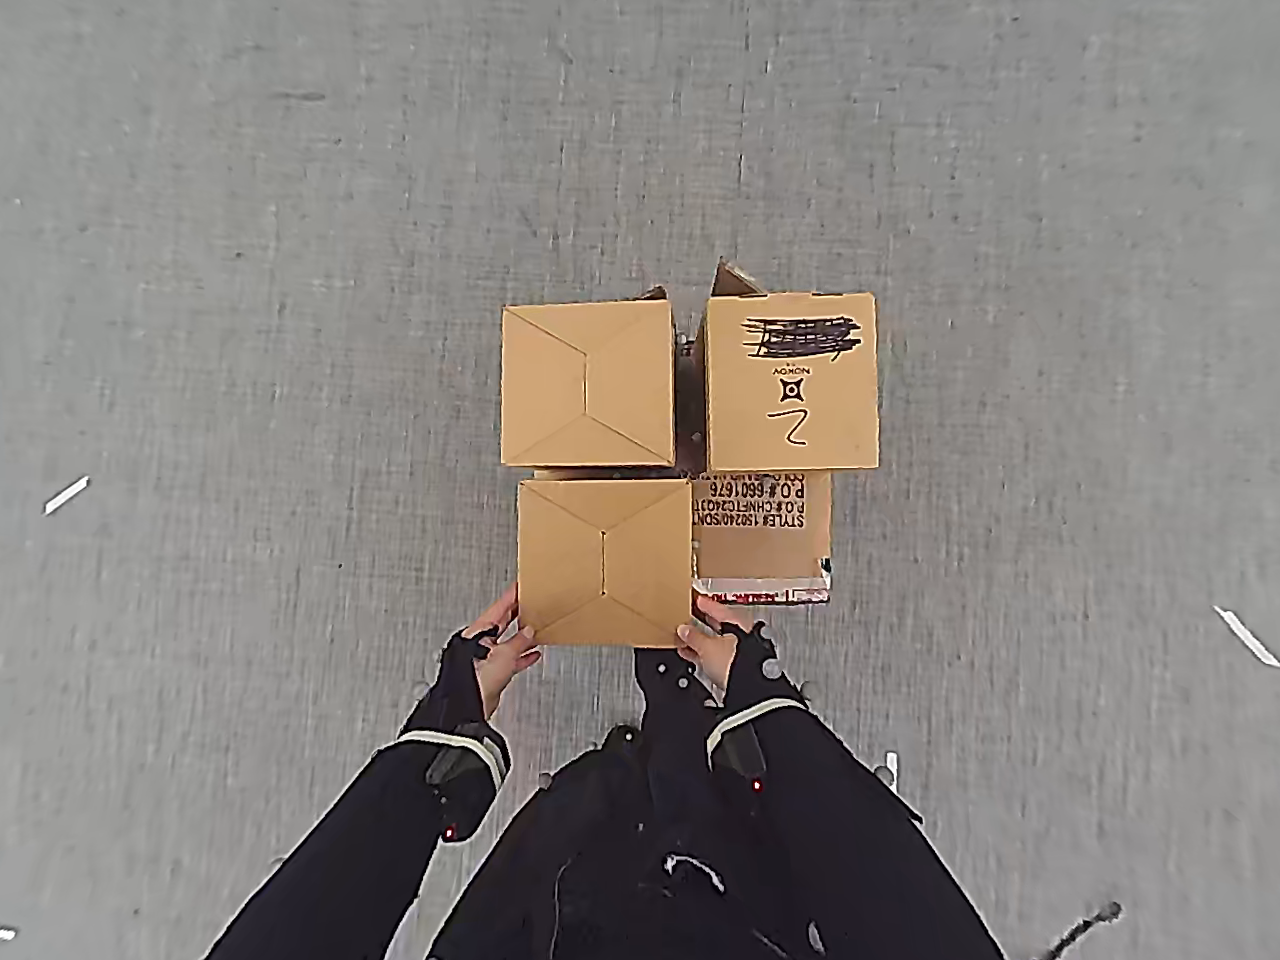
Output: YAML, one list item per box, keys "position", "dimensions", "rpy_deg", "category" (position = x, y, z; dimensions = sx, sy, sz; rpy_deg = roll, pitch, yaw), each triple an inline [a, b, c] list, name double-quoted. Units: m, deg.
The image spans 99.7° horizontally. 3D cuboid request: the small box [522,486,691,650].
- position: [-0.033, 0.091, 0.624]
  dimensions: [0.179, 0.176, 0.168]
  rpy_deg: [0, 89, 4]
  category: "small box"
